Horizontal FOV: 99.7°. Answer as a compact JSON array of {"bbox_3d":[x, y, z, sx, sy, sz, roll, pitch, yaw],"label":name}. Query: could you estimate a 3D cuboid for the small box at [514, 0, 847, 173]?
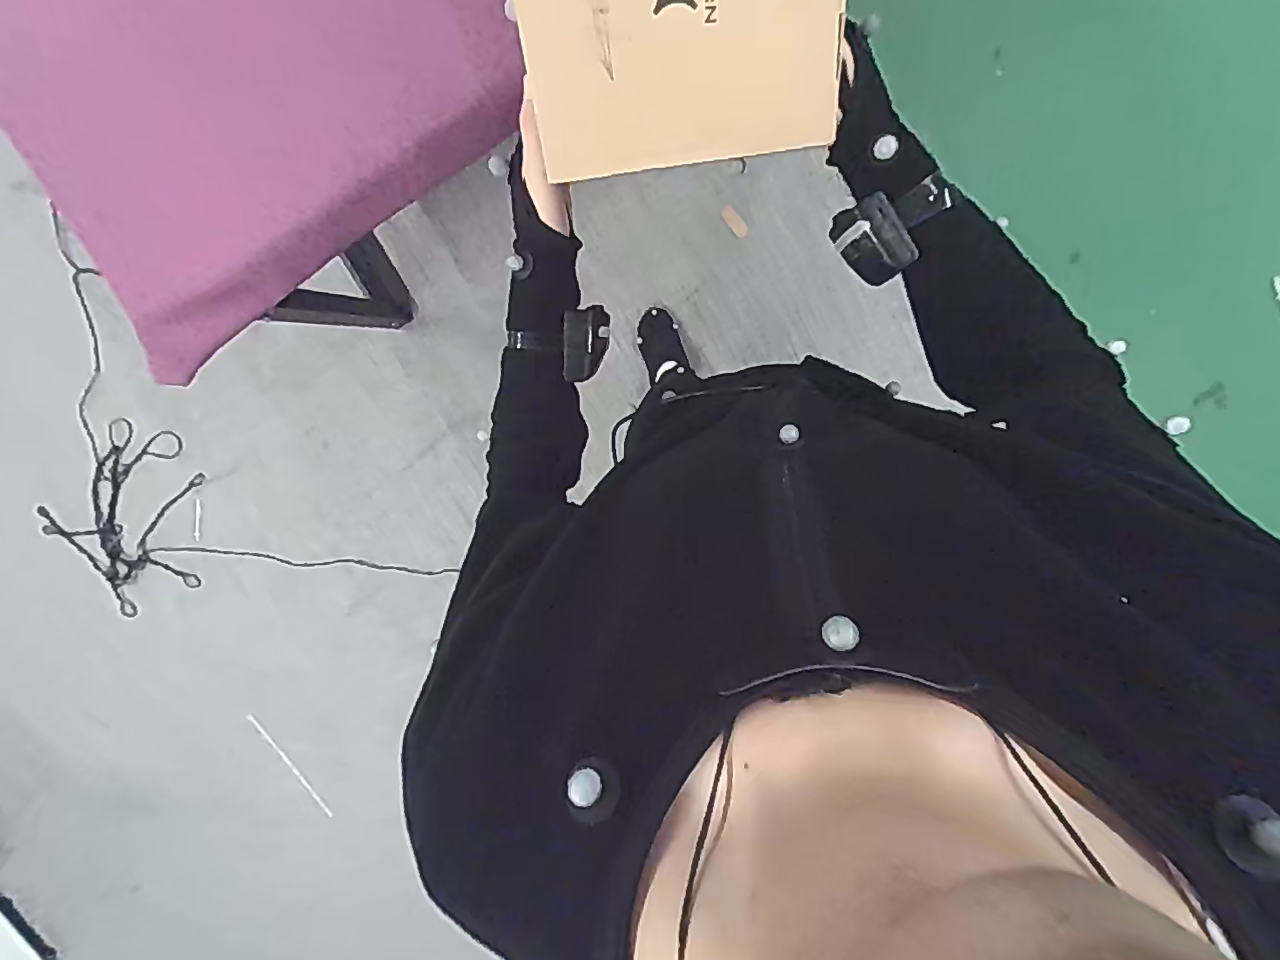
[{"bbox_3d":[0.016,-0.300,0.340,0.179,0.176,0.168,-7,122,0],"label":"small box"}]
